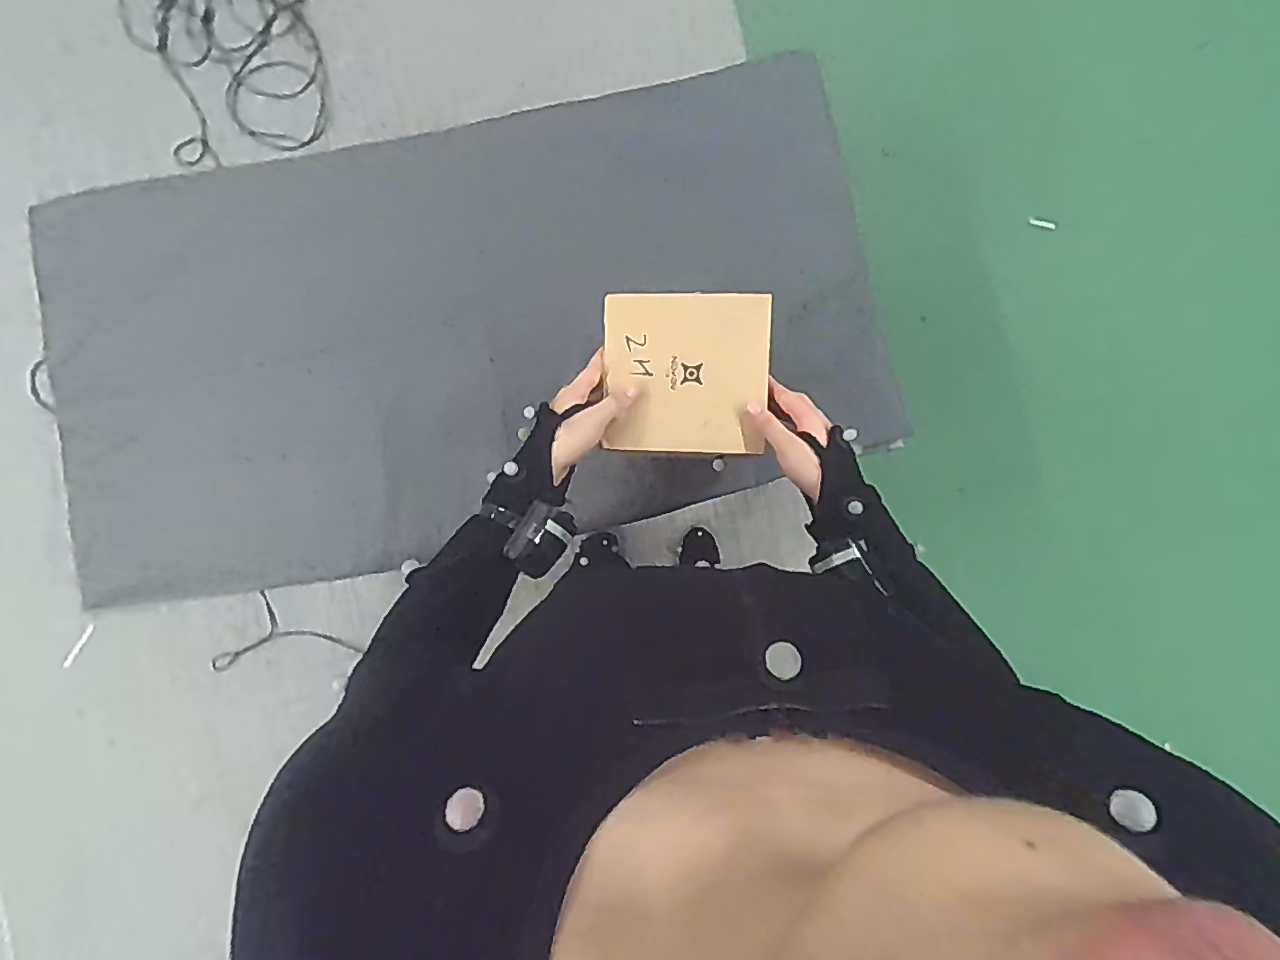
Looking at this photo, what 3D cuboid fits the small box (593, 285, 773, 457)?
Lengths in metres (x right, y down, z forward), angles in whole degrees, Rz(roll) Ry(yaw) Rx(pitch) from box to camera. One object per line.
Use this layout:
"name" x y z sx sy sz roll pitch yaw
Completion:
"small box" 0.051 -0.114 0.625 0.179 0.176 0.168 3 91 7

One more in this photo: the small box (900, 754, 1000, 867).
"small box" 0.756 0.789 1.312 0.168 0.176 0.179 -9 86 1
